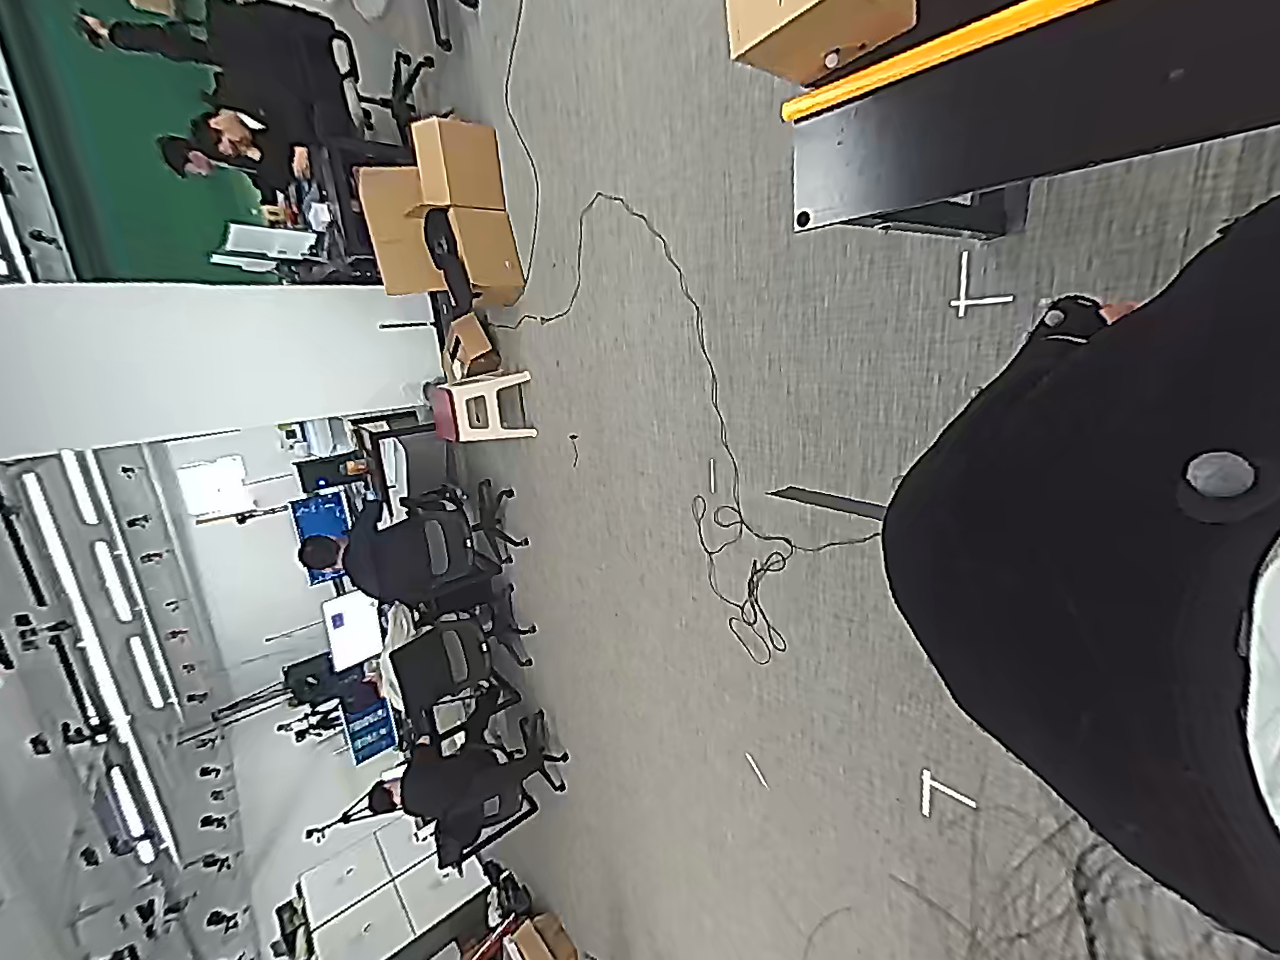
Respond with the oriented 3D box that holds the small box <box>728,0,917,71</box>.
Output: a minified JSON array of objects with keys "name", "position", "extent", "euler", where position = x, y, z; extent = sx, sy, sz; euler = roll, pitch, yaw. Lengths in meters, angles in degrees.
[{"name":"small box","position":[0.222,-0.649,0.662],"extent":[0.168,0.176,0.179],"euler":[8,111,50]}]
